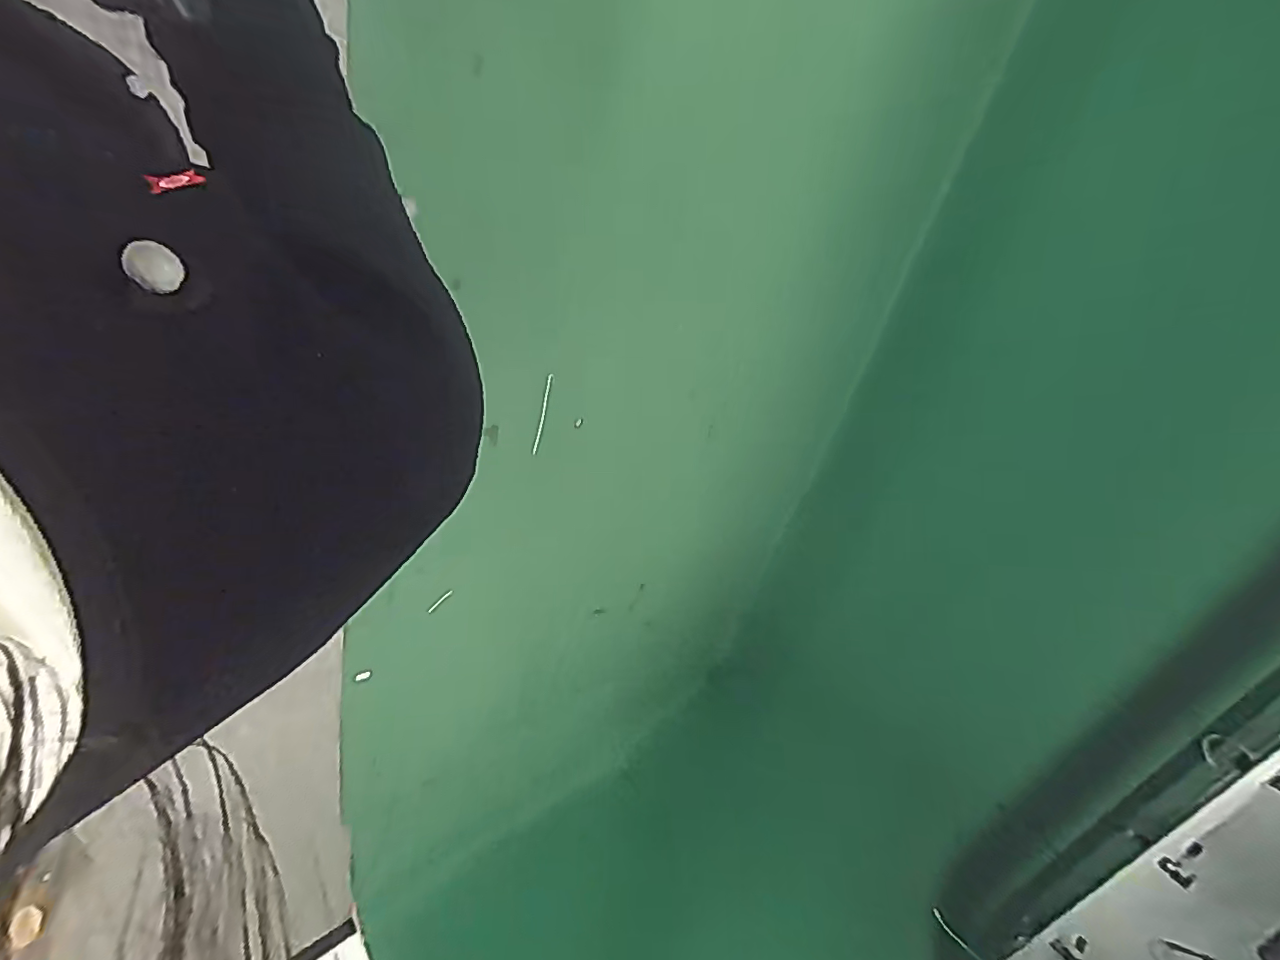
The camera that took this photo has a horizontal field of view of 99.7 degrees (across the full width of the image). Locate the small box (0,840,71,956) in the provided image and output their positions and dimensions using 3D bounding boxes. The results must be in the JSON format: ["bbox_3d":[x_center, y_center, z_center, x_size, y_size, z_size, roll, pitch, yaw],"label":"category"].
[{"bbox_3d":[-1.686,1.128,1.454,0.179,0.176,0.168,-22,135,-37],"label":"small box"}]
